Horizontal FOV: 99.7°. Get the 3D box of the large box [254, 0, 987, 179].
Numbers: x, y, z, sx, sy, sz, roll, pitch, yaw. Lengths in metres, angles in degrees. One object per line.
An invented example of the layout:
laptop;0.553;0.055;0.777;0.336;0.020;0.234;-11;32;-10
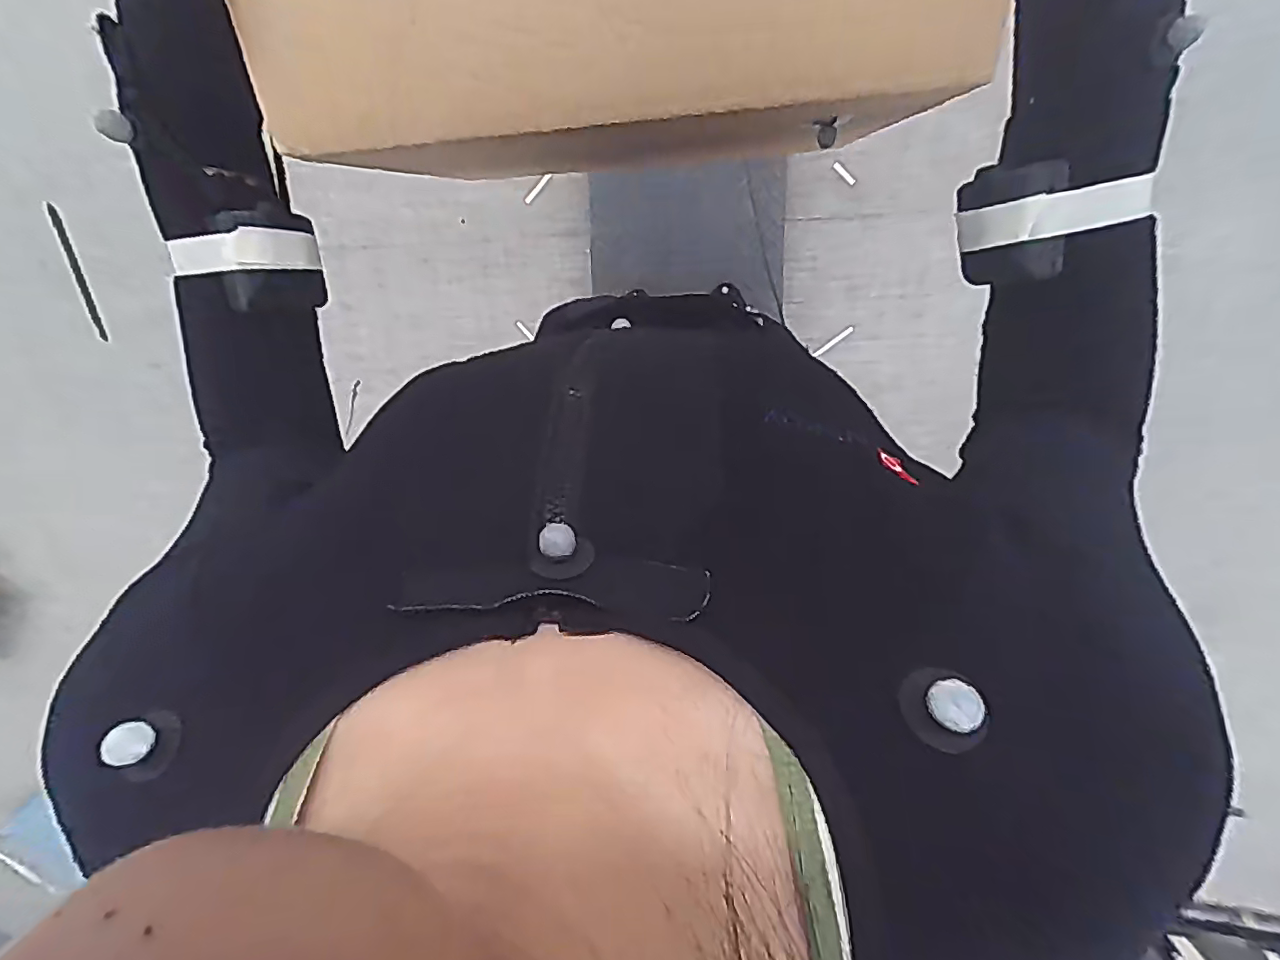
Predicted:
large box;-0.013;-0.411;0.383;0.408;0.320;0.320;-2;116;6
